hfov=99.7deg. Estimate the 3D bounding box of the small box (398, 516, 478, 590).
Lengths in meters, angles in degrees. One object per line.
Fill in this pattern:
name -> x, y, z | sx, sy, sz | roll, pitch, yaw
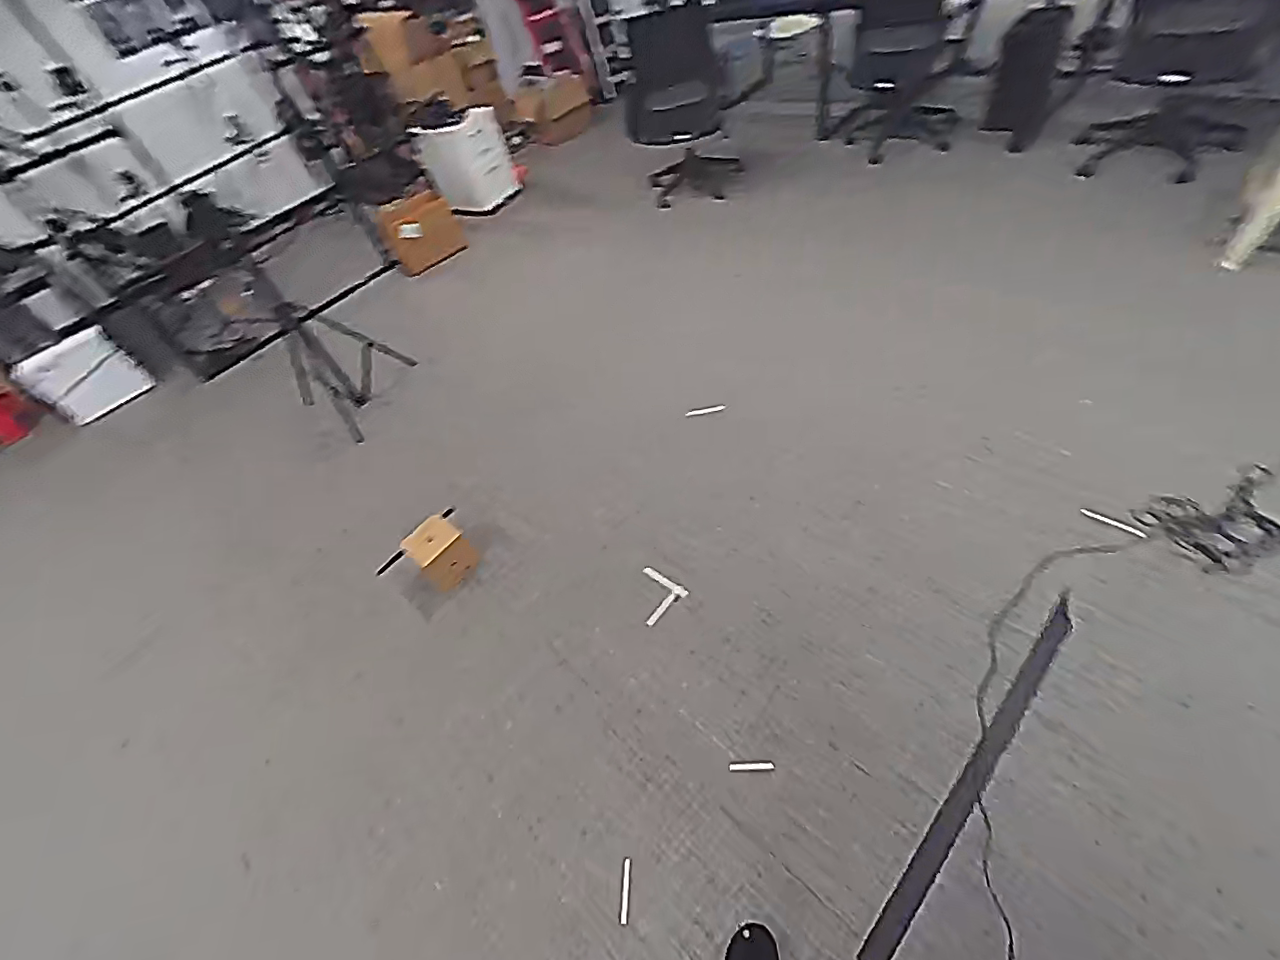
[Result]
small box -> -0.712, 0.265, 1.922 | 0.179, 0.176, 0.168 | 27, 62, 35
